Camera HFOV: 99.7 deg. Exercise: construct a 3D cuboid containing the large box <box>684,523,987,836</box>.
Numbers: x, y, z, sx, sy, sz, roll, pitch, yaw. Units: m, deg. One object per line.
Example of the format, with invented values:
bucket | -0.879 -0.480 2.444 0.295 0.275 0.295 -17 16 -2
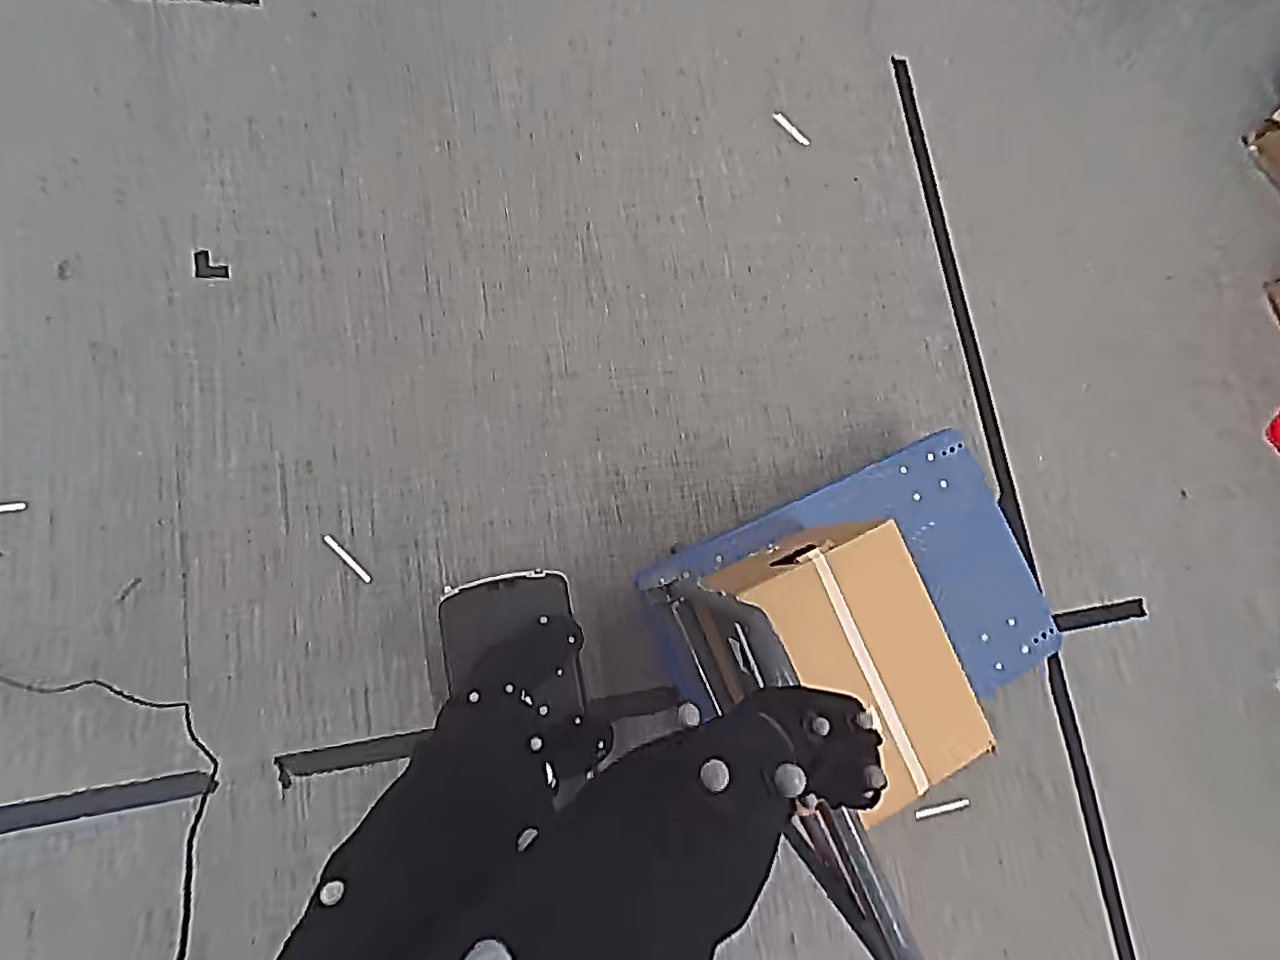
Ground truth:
large box | 0.331 0.328 1.013 0.320 0.320 0.408 -23 87 -12
